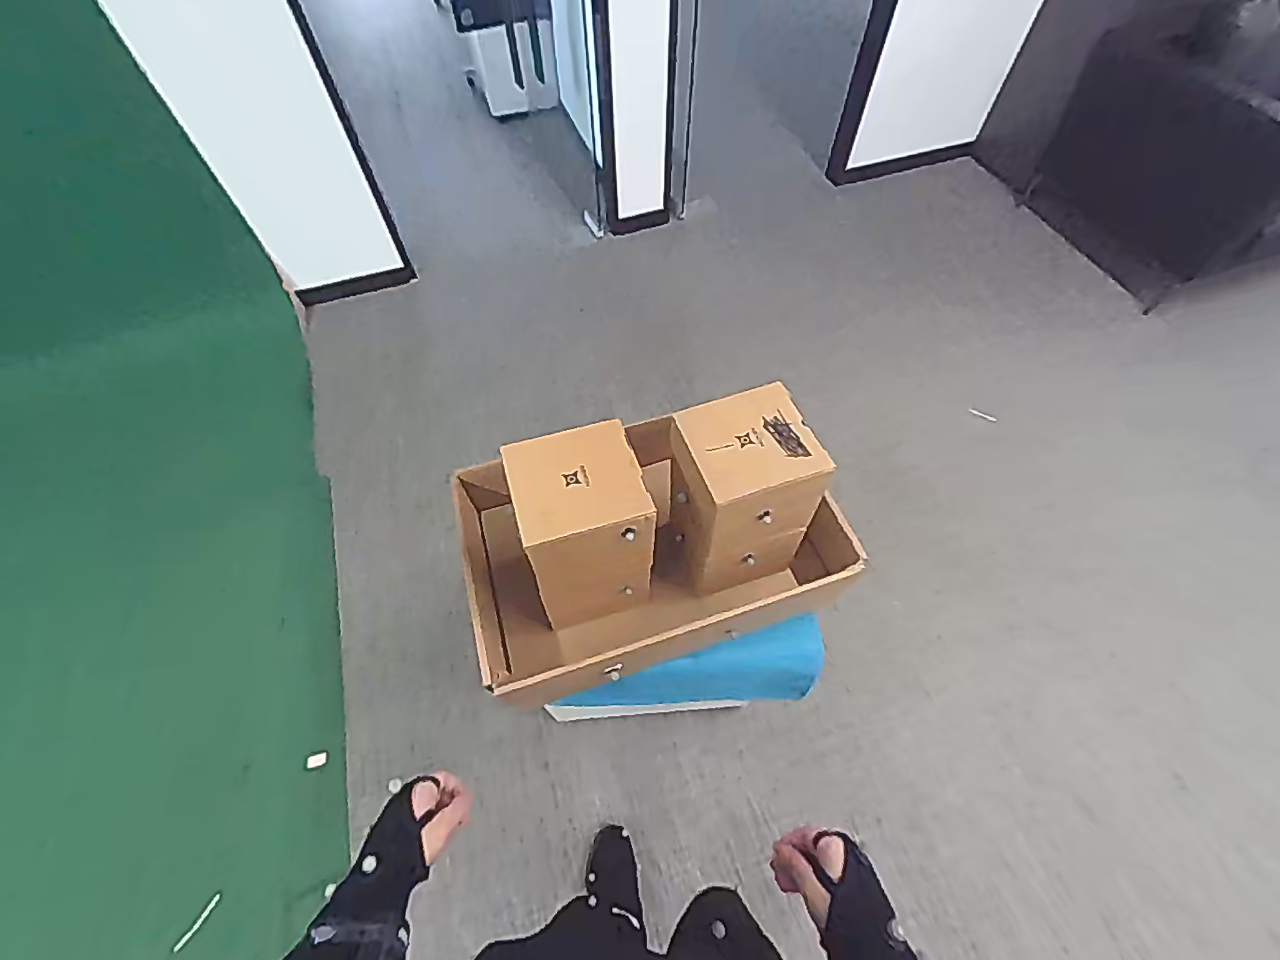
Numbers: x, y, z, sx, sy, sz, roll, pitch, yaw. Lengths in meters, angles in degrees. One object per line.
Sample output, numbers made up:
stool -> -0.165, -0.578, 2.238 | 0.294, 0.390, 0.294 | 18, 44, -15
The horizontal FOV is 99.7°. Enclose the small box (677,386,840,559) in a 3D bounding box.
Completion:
small box -> 0.161, -0.006, 0.805 | 0.179, 0.176, 0.168 | -17, 57, -8
